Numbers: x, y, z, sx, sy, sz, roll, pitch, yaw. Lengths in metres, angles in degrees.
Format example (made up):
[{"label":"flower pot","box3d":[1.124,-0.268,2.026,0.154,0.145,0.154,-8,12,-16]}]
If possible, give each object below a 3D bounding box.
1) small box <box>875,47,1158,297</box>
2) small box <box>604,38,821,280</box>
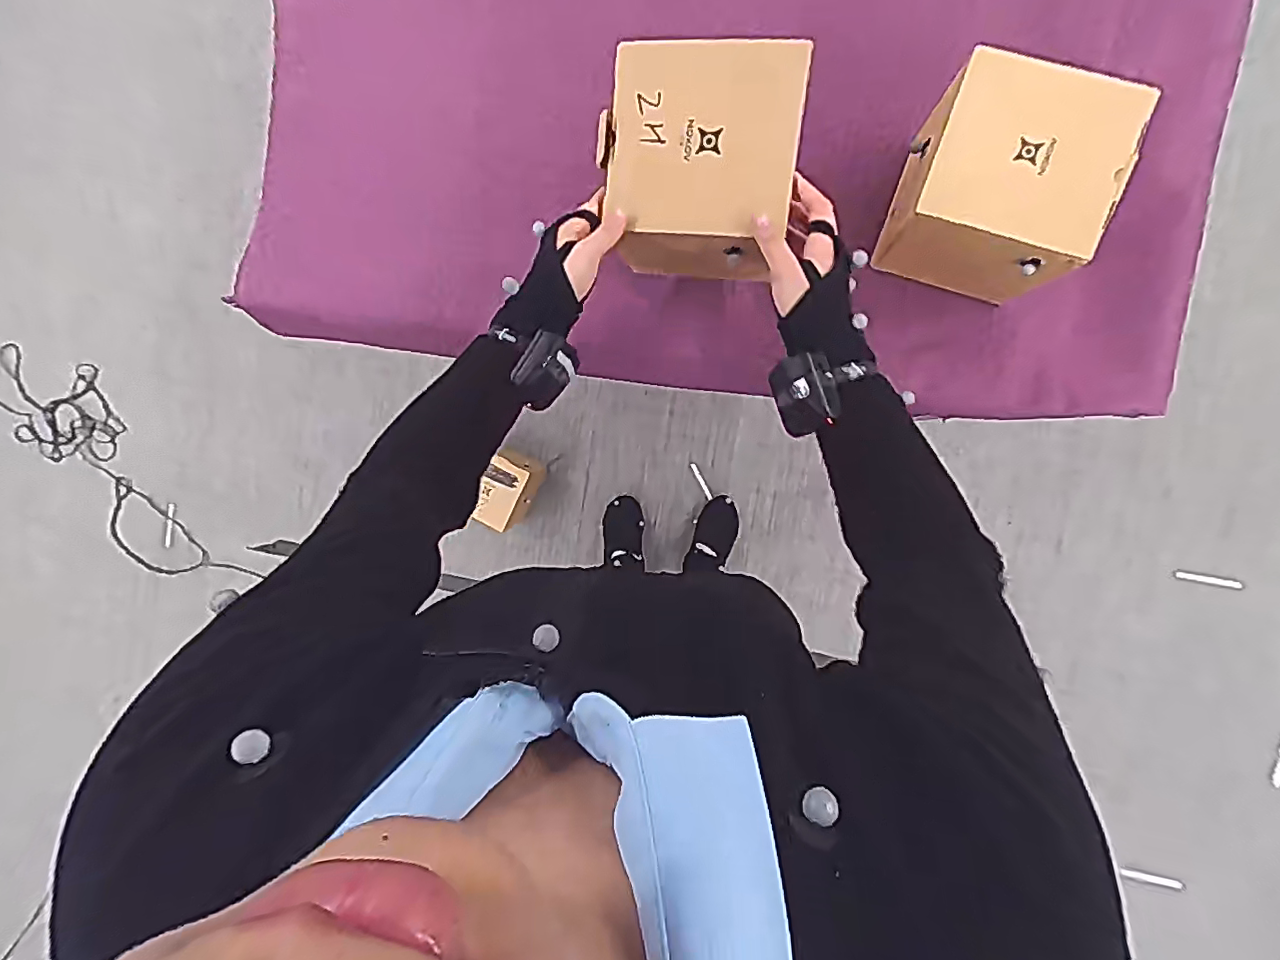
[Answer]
[{"label":"small box","box3d":[0.390,-0.322,0.602,0.179,0.176,0.168,19,96,5]},{"label":"small box","box3d":[0.074,-0.312,0.559,0.179,0.176,0.168,8,100,10]}]
